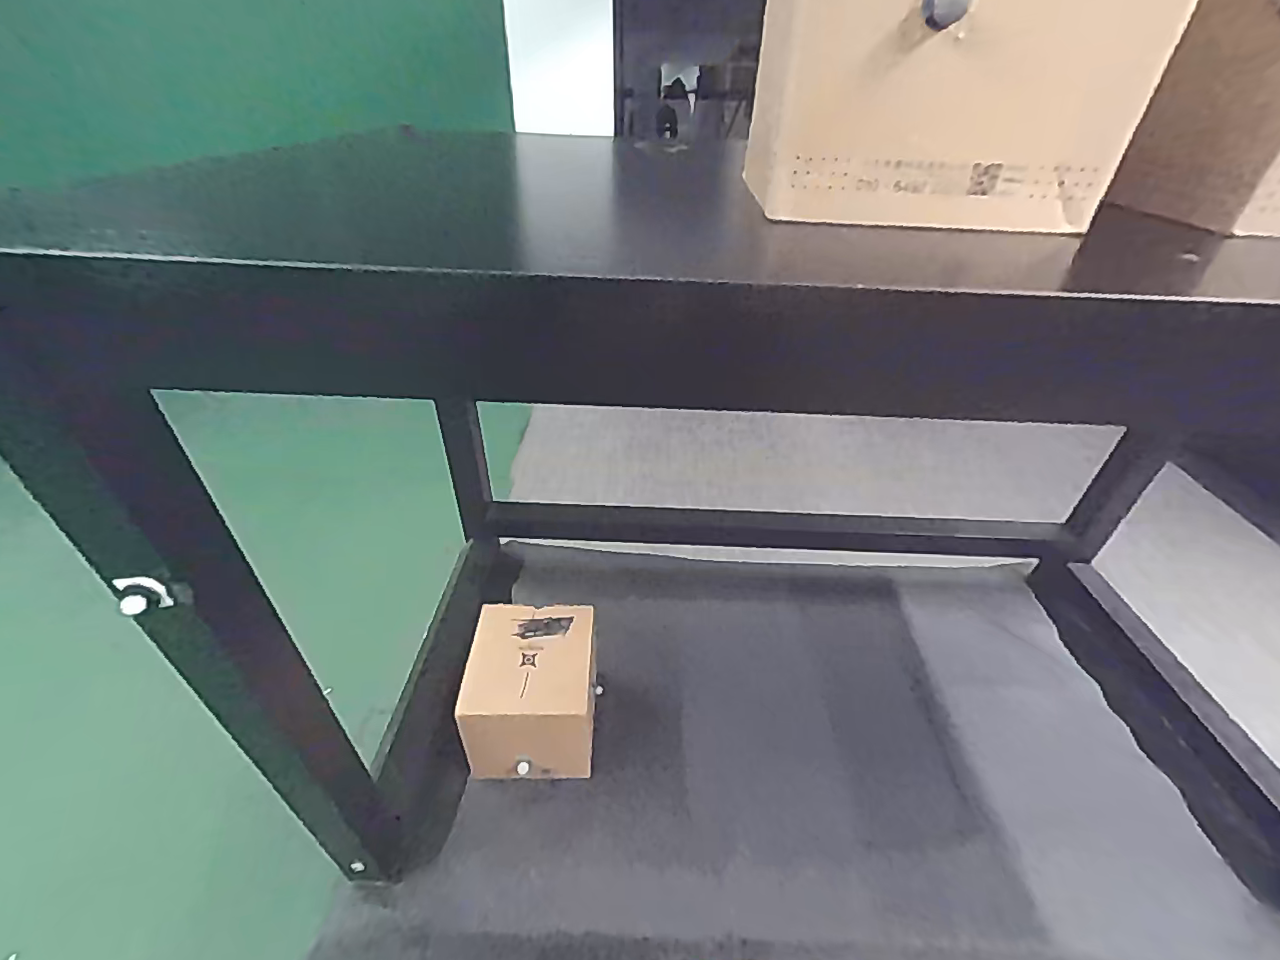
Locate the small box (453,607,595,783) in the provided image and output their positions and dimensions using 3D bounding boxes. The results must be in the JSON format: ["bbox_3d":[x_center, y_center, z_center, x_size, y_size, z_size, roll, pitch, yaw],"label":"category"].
[{"bbox_3d":[-0.153,0.305,0.777,0.168,0.176,0.179,0,36,-1],"label":"small box"}]
